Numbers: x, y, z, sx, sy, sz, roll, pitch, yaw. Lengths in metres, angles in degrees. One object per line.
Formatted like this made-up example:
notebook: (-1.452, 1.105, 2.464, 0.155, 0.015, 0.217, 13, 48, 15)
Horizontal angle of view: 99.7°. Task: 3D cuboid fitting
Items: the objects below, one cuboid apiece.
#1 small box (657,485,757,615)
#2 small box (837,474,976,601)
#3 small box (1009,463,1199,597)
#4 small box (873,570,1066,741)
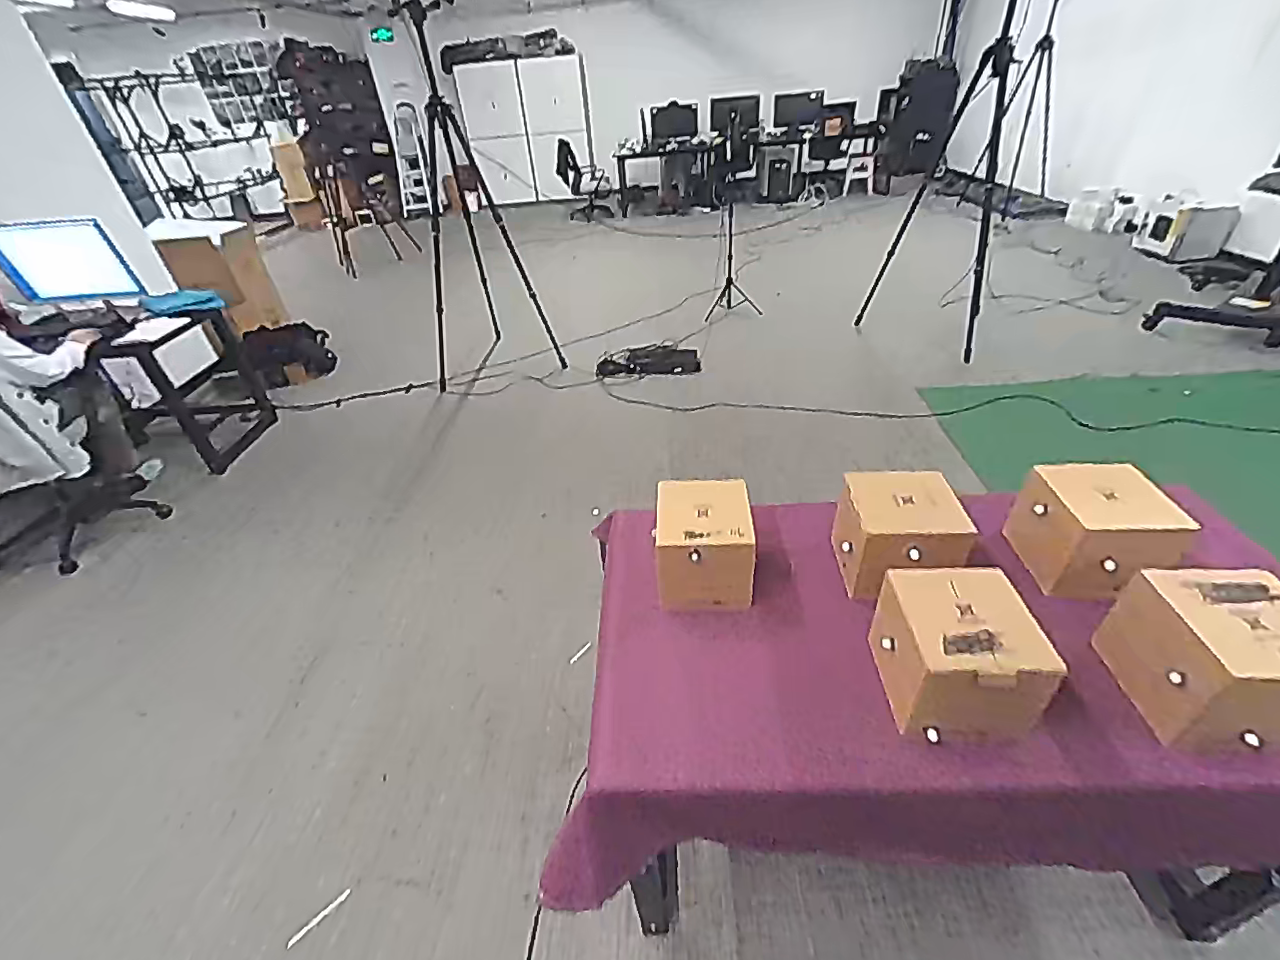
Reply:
small box: (0.120, 0.127, 0.999, 0.168, 0.176, 0.179, -2, 36, 5)
small box: (0.464, 0.105, 0.978, 0.179, 0.176, 0.168, -1, 37, 7)
small box: (0.791, 0.090, 0.947, 0.168, 0.176, 0.179, -2, 36, 7)
small box: (0.451, 0.252, 0.776, 0.168, 0.176, 0.179, -2, 35, 6)
